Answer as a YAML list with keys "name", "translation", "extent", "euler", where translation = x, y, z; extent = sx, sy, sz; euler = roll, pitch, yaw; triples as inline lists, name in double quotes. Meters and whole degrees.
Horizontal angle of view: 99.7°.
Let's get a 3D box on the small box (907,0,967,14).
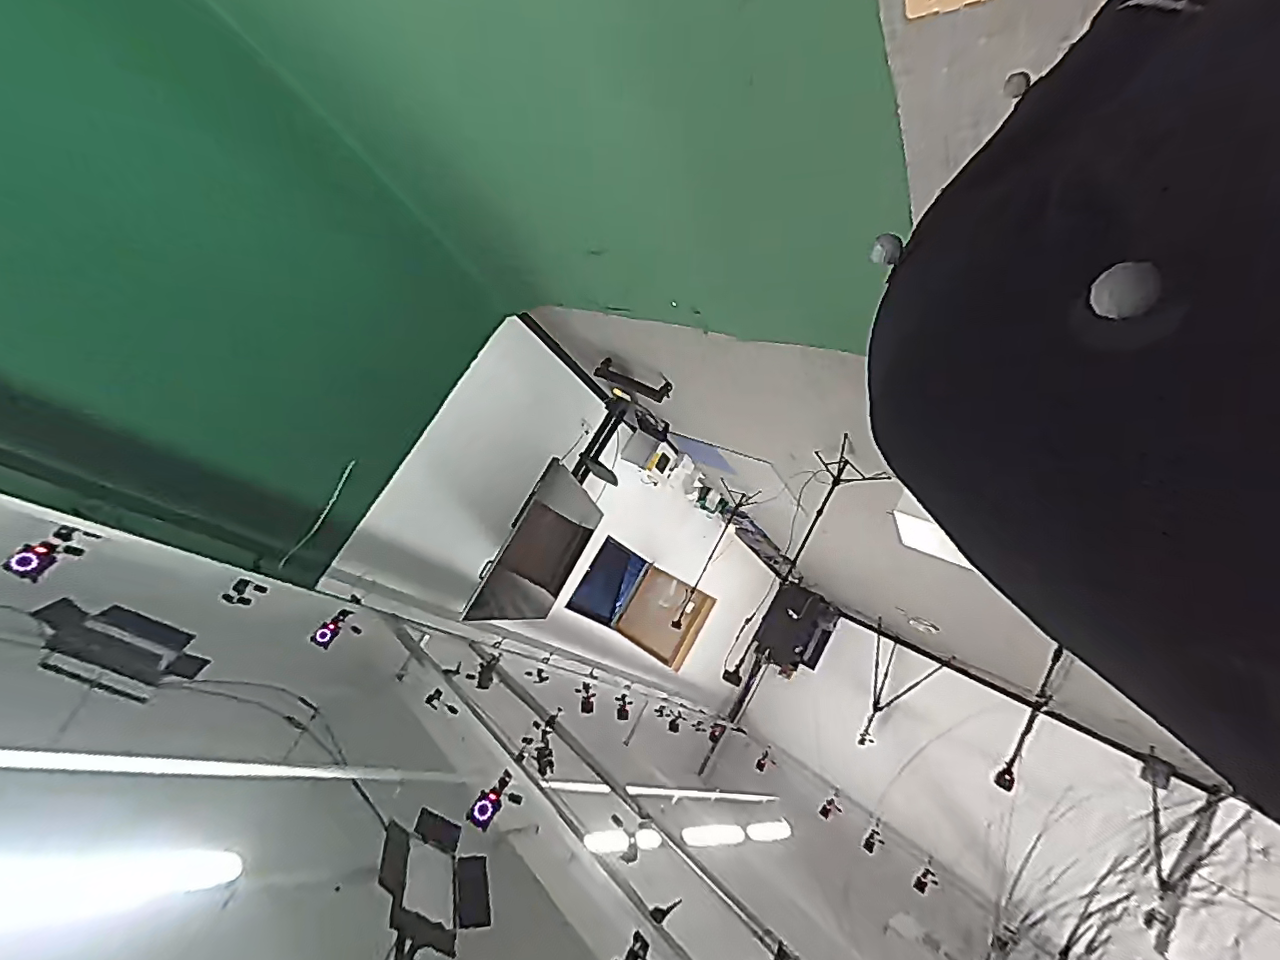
- name: "small box"
  translation: [0.590, -1.003, 0.967]
  extent: [0.168, 0.176, 0.179]
  euler: [24, 167, 41]
